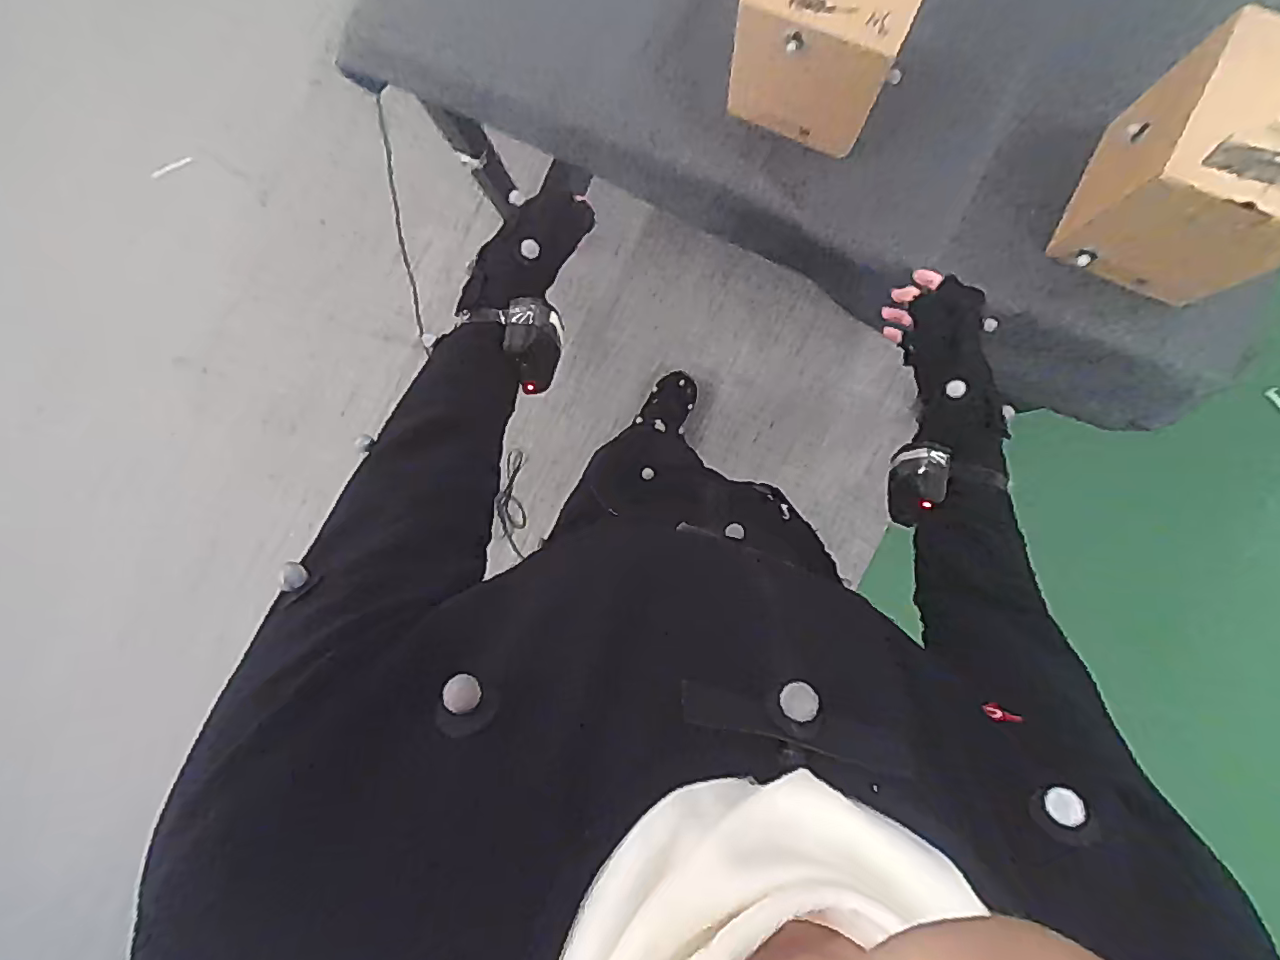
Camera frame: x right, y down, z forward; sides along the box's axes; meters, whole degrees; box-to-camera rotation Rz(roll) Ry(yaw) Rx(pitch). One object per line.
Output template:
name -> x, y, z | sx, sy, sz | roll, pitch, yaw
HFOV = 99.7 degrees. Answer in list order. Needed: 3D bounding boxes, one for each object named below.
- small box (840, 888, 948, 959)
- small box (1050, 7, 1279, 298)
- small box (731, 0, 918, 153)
small box -> 0.614, 1.144, 1.304 | 0.179, 0.176, 0.168 | 24, 91, 5
small box -> 0.590, -0.323, 0.574 | 0.168, 0.176, 0.179 | 27, 90, 5
small box -> 0.212, -0.521, 0.606 | 0.168, 0.176, 0.179 | 25, 91, 4
